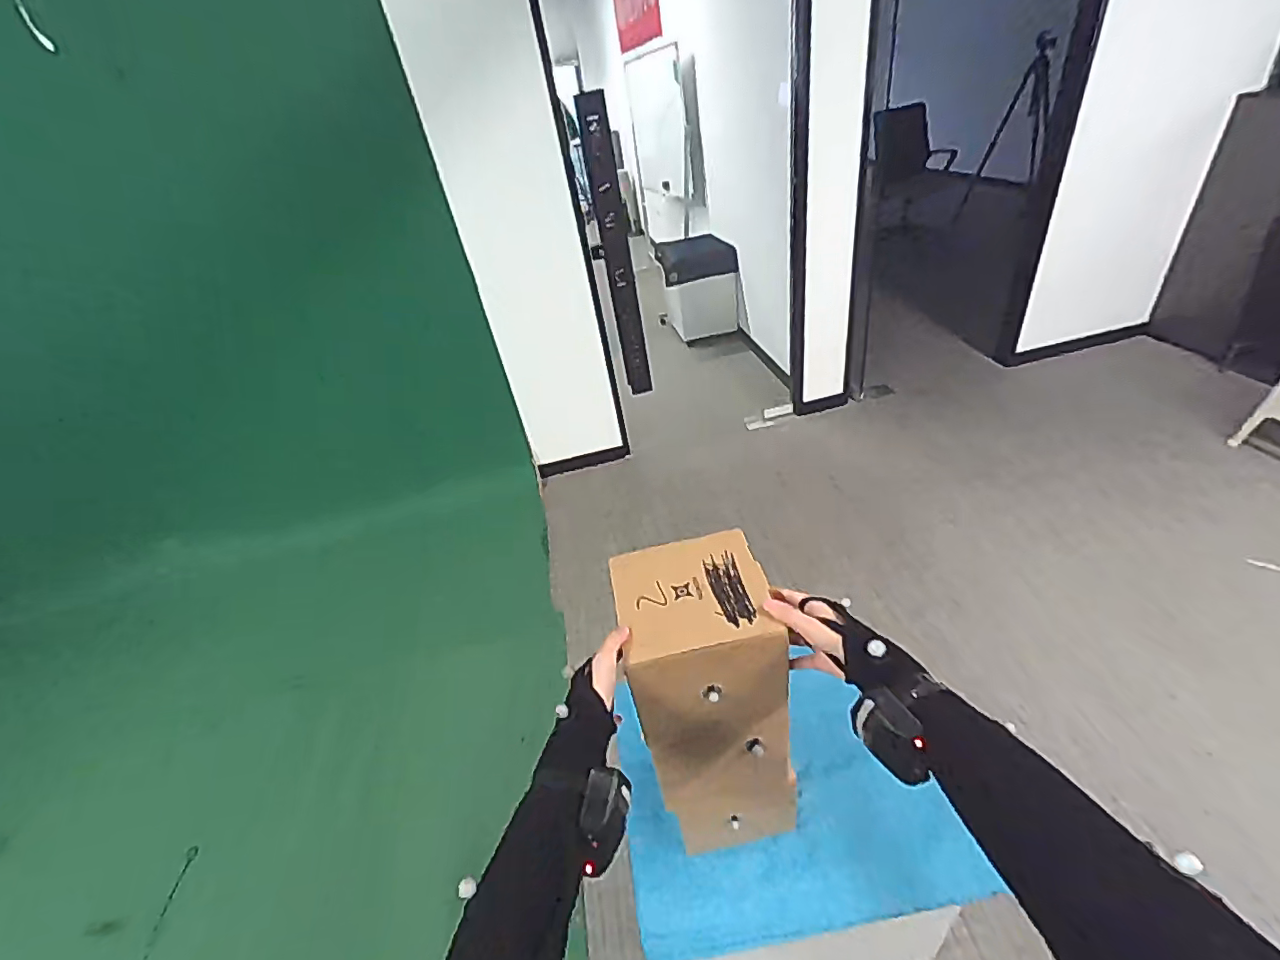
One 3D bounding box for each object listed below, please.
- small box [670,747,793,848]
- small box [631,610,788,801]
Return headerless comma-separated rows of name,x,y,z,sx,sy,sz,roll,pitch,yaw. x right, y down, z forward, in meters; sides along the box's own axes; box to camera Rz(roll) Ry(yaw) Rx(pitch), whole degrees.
small box,0.126,0.440,0.848,0.179,0.176,0.168,-13,35,-2
small box,0.092,0.312,0.751,0.179,0.176,0.168,-12,35,-2
